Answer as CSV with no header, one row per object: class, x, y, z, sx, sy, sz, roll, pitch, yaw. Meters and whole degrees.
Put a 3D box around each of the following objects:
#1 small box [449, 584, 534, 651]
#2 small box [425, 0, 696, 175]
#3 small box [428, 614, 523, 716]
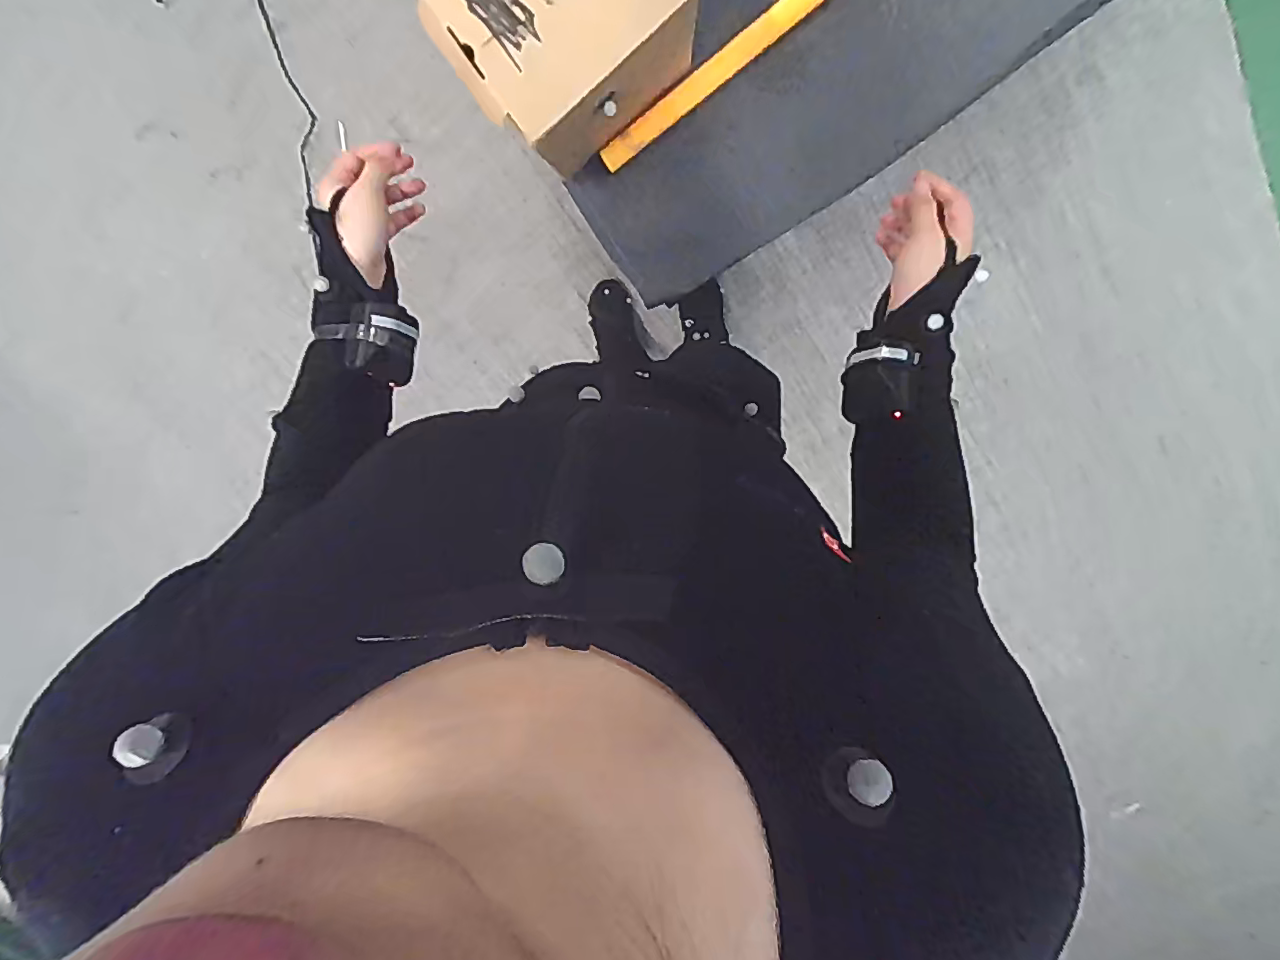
small box,-0.444,0.452,1.658,0.179,0.176,0.168,-36,108,15
small box,-0.065,-0.415,0.493,0.179,0.176,0.168,-35,106,14
small box,-0.444,0.508,1.502,0.179,0.176,0.168,-37,107,16
